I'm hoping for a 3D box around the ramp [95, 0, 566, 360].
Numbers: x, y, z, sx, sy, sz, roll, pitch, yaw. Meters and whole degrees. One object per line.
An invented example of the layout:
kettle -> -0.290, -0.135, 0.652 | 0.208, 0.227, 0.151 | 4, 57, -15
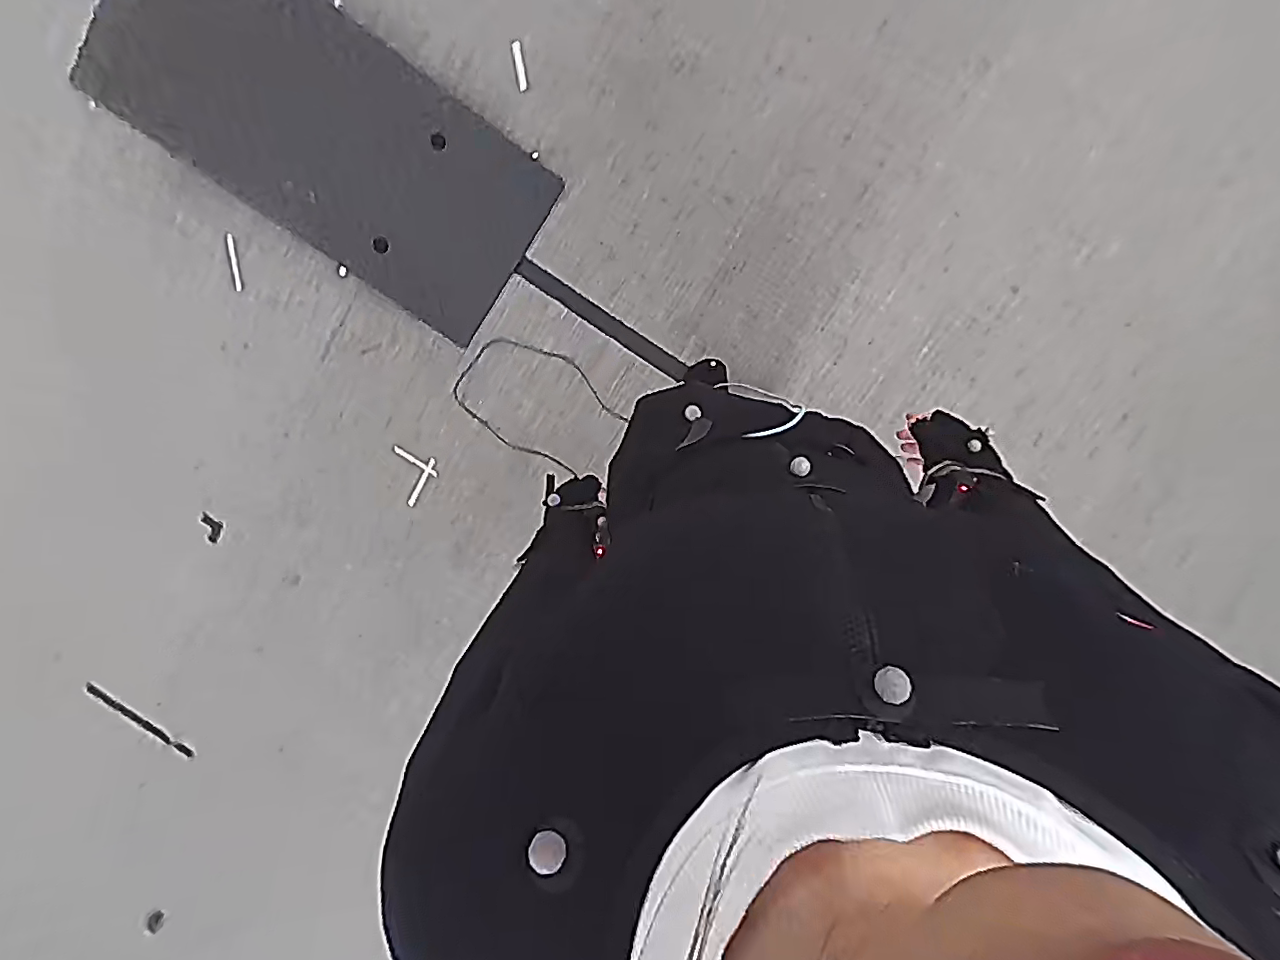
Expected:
ramp -> -0.723, -0.775, 1.315 | 0.991, 0.206, 0.509 | 33, 99, -1
